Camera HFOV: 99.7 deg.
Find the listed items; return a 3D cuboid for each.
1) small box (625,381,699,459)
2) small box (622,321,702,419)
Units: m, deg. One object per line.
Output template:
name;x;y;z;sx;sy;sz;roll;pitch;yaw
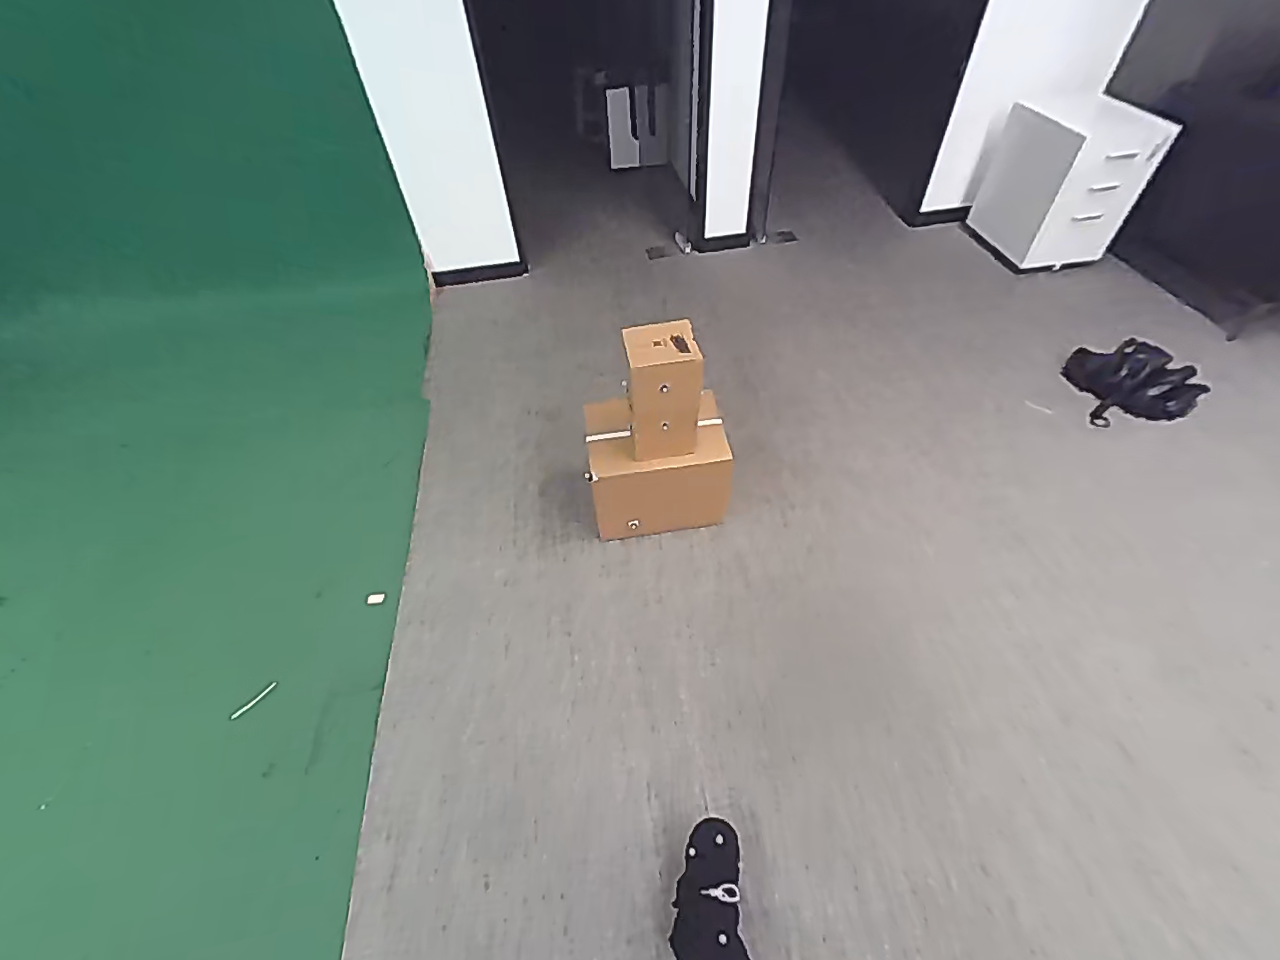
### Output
small box;0.062;-0.176;1.513;0.179;0.176;0.168;-9;50;-4
small box;0.055;-0.279;1.385;0.179;0.176;0.168;-10;50;-2
